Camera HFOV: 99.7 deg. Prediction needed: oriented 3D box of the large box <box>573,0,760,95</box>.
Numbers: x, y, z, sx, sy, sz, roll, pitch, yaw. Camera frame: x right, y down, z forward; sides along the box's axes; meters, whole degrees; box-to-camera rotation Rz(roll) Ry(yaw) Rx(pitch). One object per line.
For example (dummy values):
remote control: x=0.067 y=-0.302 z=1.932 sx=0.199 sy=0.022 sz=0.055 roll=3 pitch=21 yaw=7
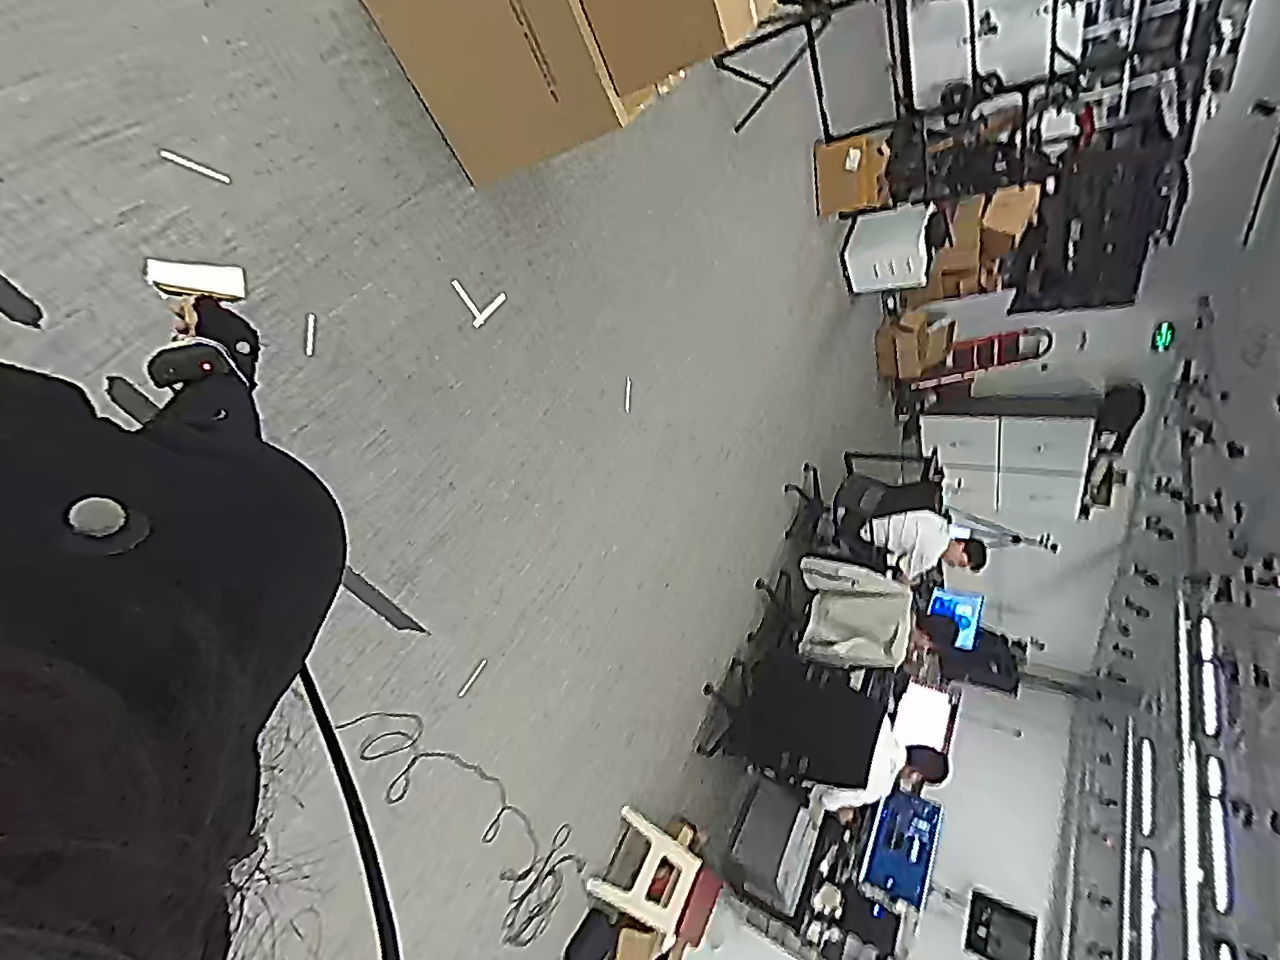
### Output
large box: x=0.031 y=-1.186 z=1.211 sx=0.320 sy=0.320 sz=0.408 roll=-59 pitch=138 yaw=-29
